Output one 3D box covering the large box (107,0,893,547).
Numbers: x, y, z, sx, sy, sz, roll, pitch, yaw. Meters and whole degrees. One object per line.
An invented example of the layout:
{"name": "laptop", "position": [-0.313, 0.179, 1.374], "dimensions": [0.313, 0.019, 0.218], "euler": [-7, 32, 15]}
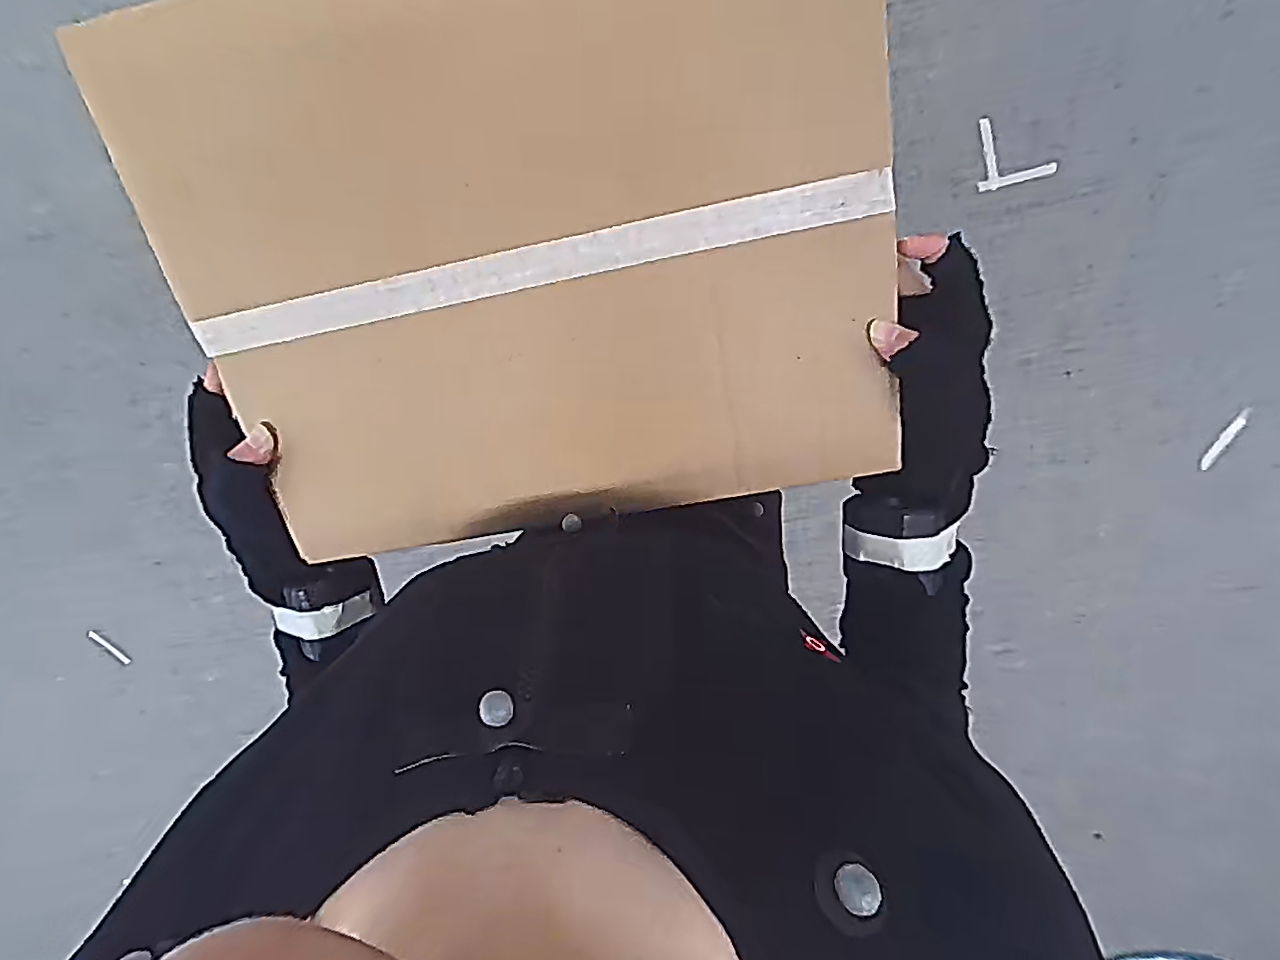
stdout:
{"name": "large box", "position": [-0.058, -0.177, 0.453], "dimensions": [0.408, 0.320, 0.320], "euler": [-10, 111, 6]}
